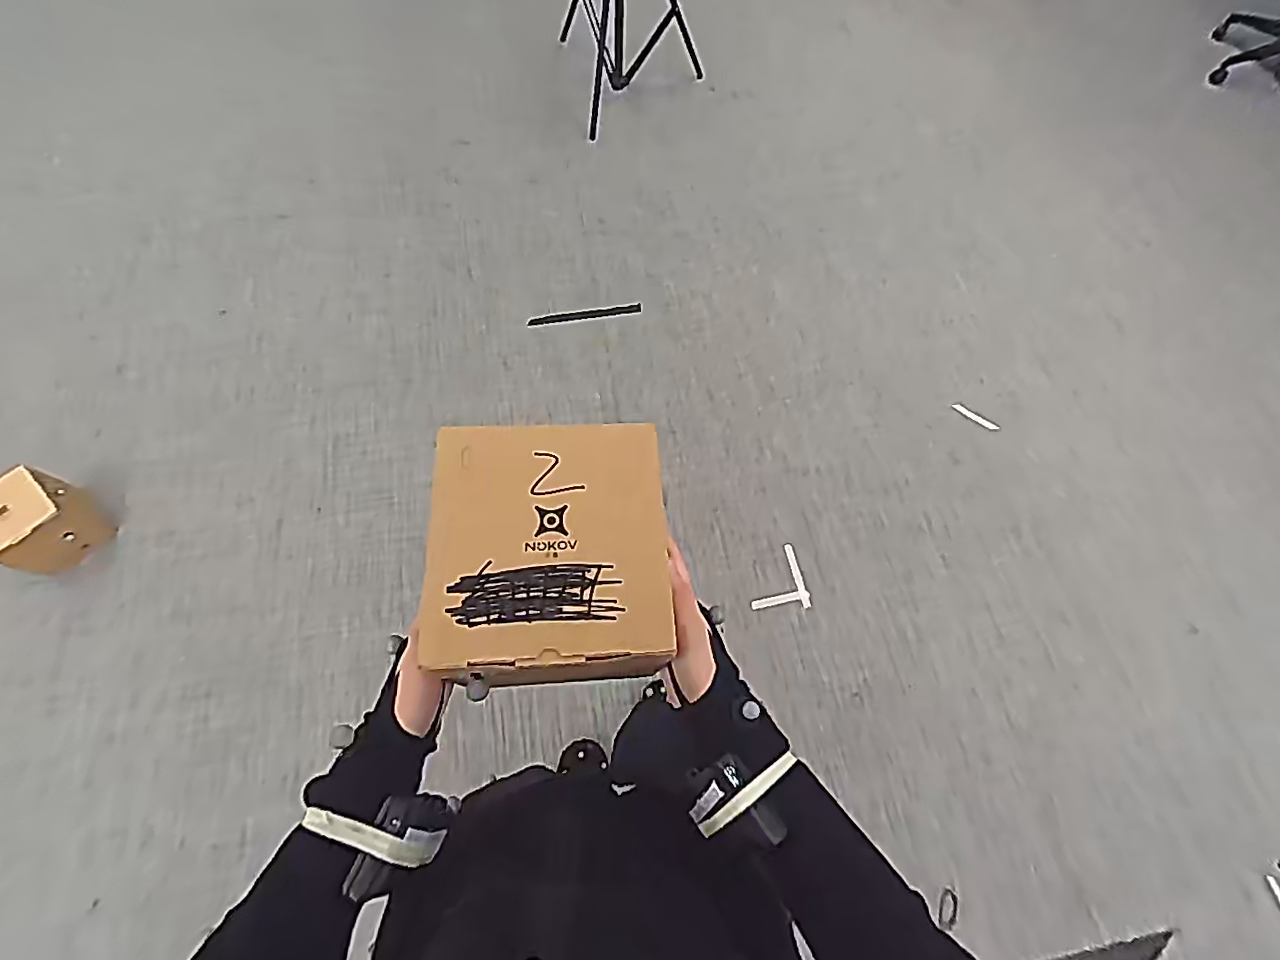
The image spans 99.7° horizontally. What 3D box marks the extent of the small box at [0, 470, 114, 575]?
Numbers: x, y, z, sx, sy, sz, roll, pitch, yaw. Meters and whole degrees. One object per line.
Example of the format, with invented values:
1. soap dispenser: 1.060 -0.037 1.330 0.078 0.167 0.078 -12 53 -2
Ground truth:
1. small box: -1.466 0.114 1.323 0.179 0.176 0.168 40 70 14
